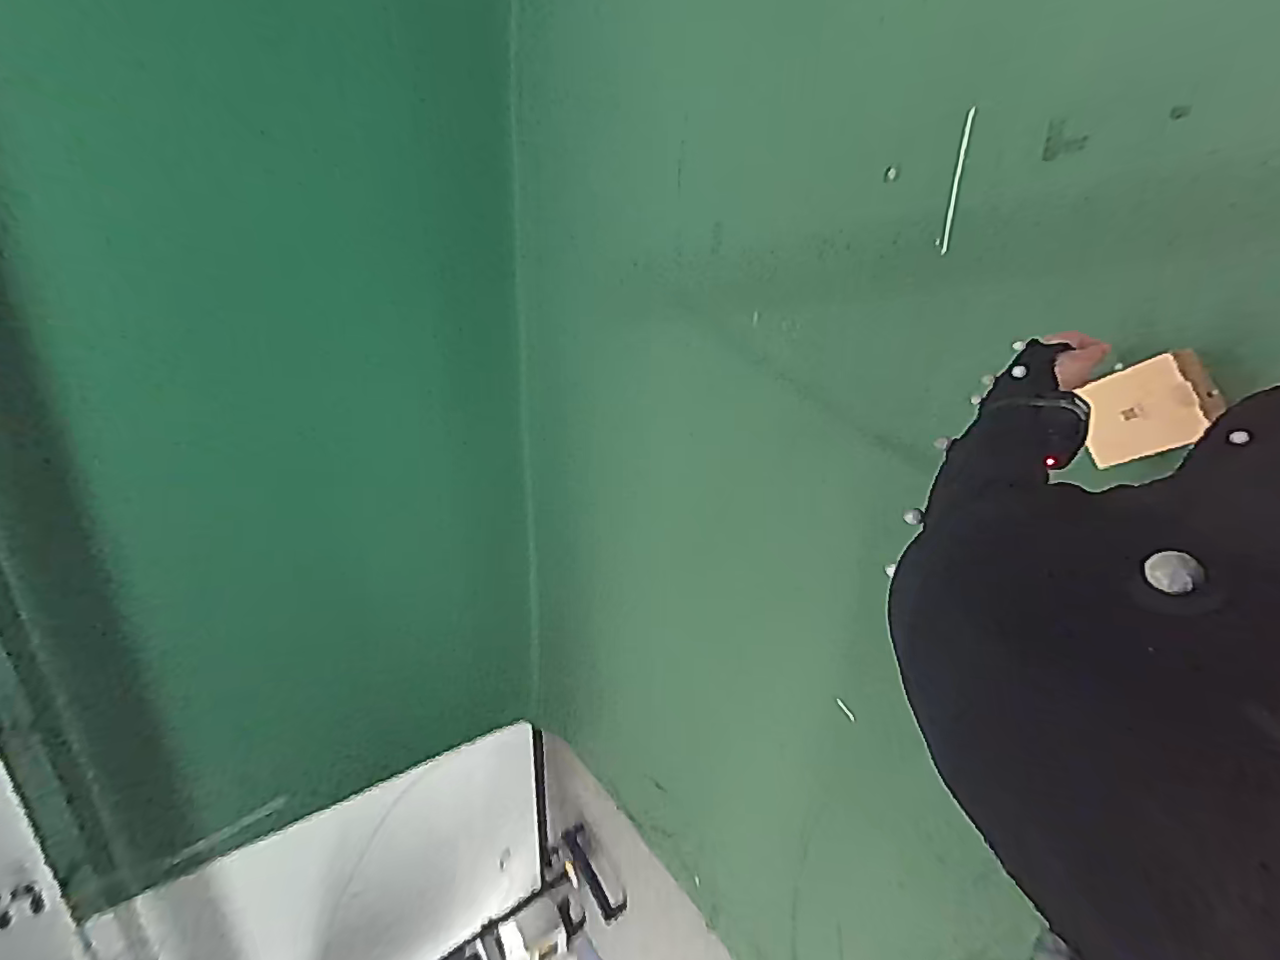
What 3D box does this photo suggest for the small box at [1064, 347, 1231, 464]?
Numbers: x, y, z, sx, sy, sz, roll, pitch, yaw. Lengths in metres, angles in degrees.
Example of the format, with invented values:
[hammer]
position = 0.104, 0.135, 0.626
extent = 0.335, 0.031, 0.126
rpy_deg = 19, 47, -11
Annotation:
[small box]
position = 0.991, -0.145, 1.058
extent = 0.179, 0.176, 0.168
rpy_deg = -34, 73, 52
